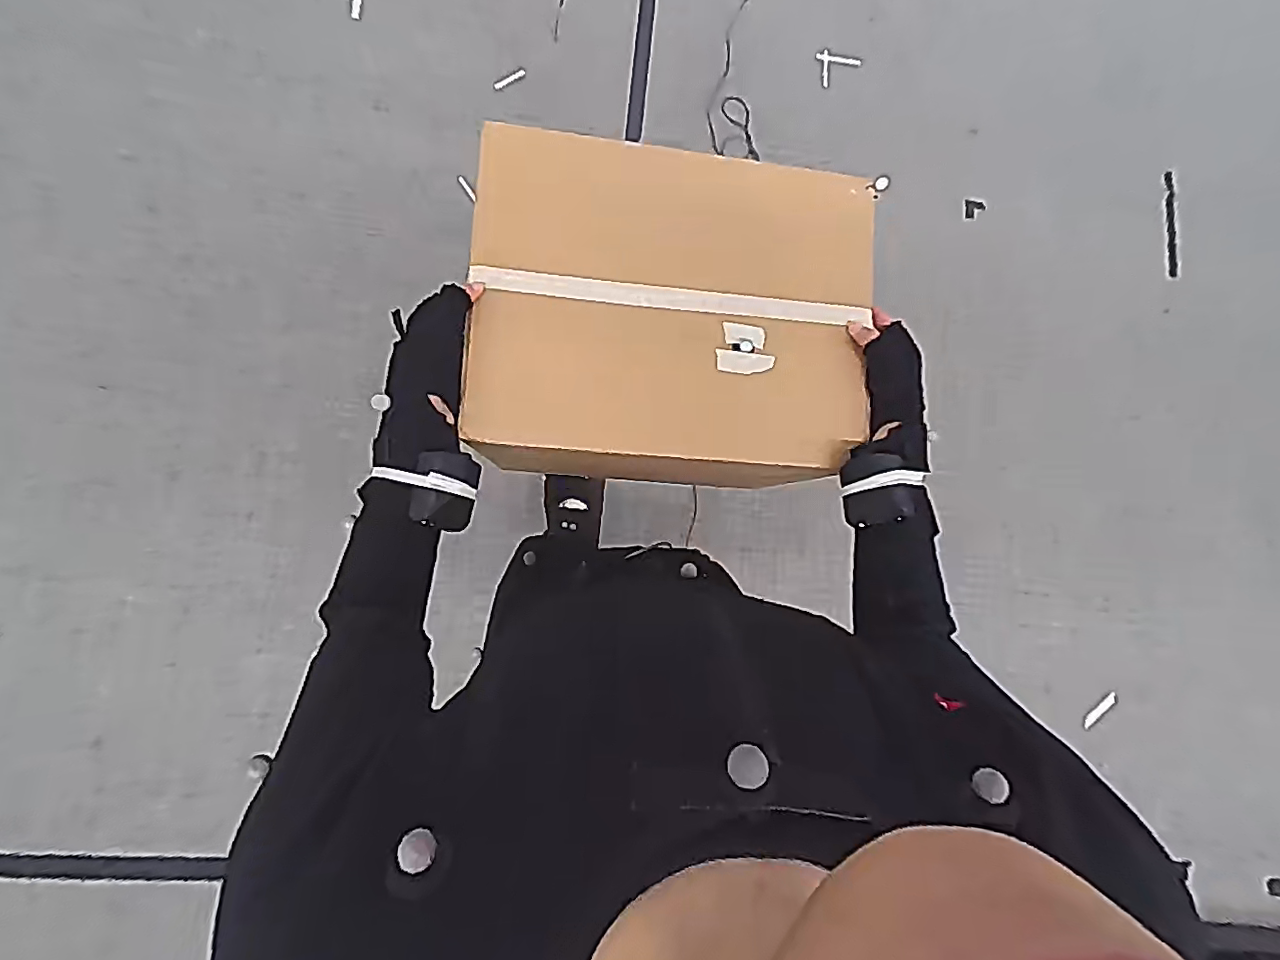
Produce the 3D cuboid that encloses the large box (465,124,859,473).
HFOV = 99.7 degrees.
[{"bbox_3d":[0.012,-0.182,0.697,0.408,0.320,0.320,4,87,-8],"label":"large box"}]
